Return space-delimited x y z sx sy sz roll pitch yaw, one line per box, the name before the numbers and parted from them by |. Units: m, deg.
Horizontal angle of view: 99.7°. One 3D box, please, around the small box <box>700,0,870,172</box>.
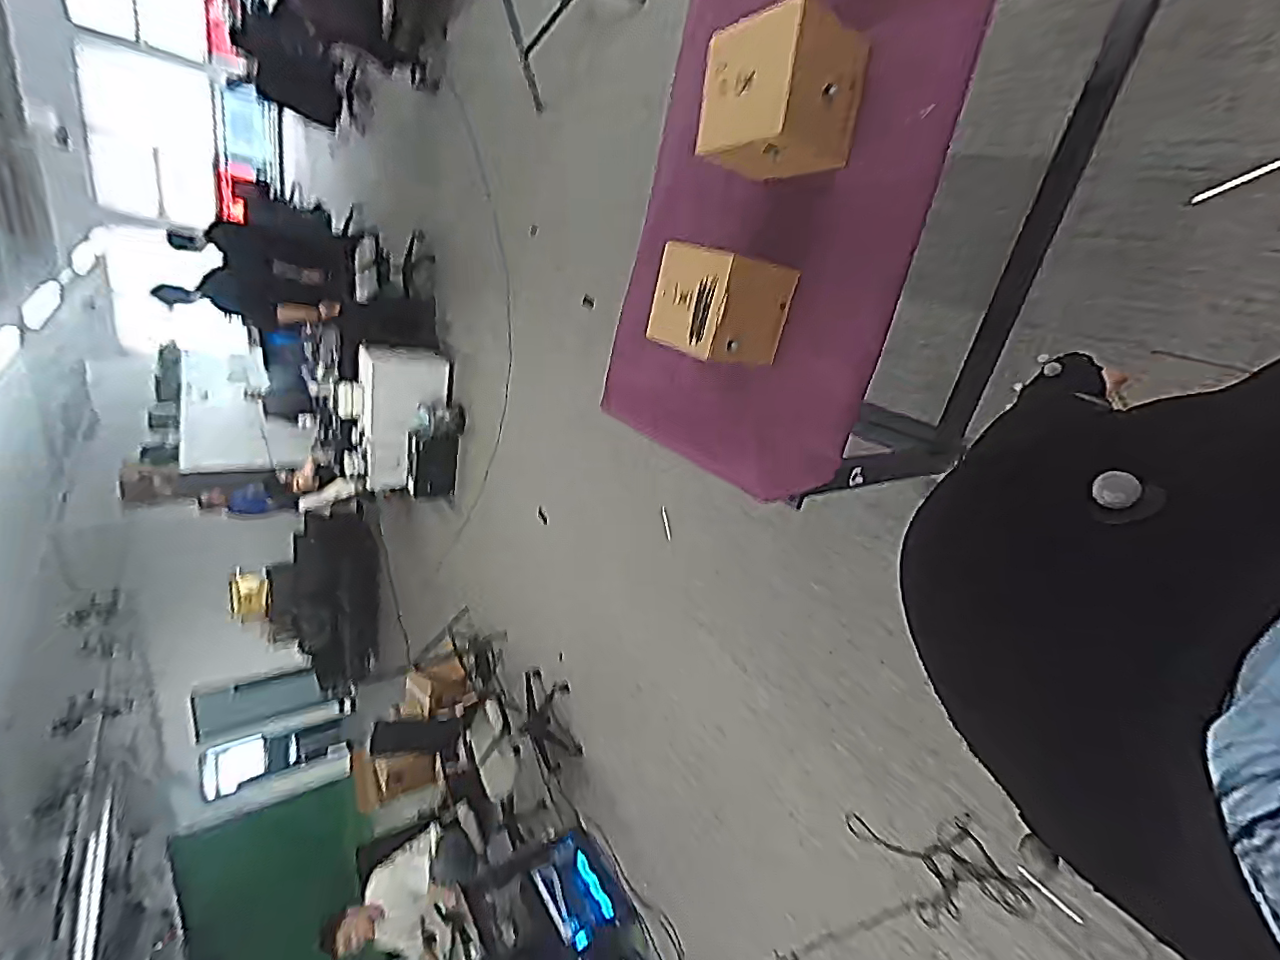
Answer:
small box | 0.222 -0.594 0.831 0.179 0.176 0.168 26 114 48
